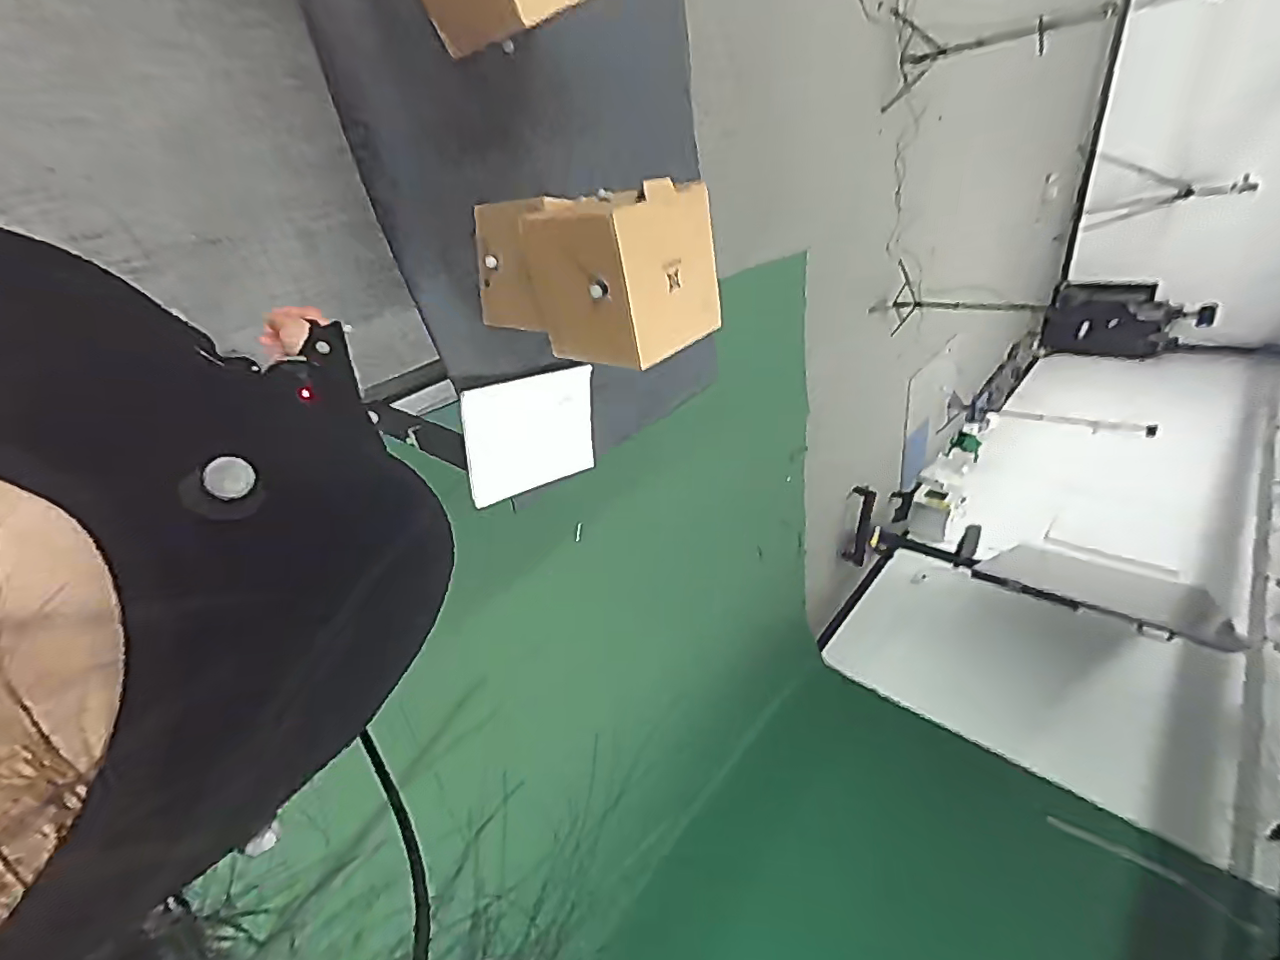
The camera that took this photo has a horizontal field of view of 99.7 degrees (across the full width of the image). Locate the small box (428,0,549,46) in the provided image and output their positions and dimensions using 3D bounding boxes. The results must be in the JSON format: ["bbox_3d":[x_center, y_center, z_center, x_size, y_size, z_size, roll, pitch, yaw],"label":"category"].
[{"bbox_3d":[-0.171,-0.655,0.627,0.168,0.176,0.179,-49,135,-22],"label":"small box"}]

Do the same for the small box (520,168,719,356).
[{"bbox_3d":[-0.023,-0.276,0.685,0.168,0.176,0.179,-37,129,-34],"label":"small box"}]

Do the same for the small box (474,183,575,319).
[{"bbox_3d":[-0.123,-0.331,0.803,0.179,0.176,0.168,-18,117,-42],"label":"small box"}]
